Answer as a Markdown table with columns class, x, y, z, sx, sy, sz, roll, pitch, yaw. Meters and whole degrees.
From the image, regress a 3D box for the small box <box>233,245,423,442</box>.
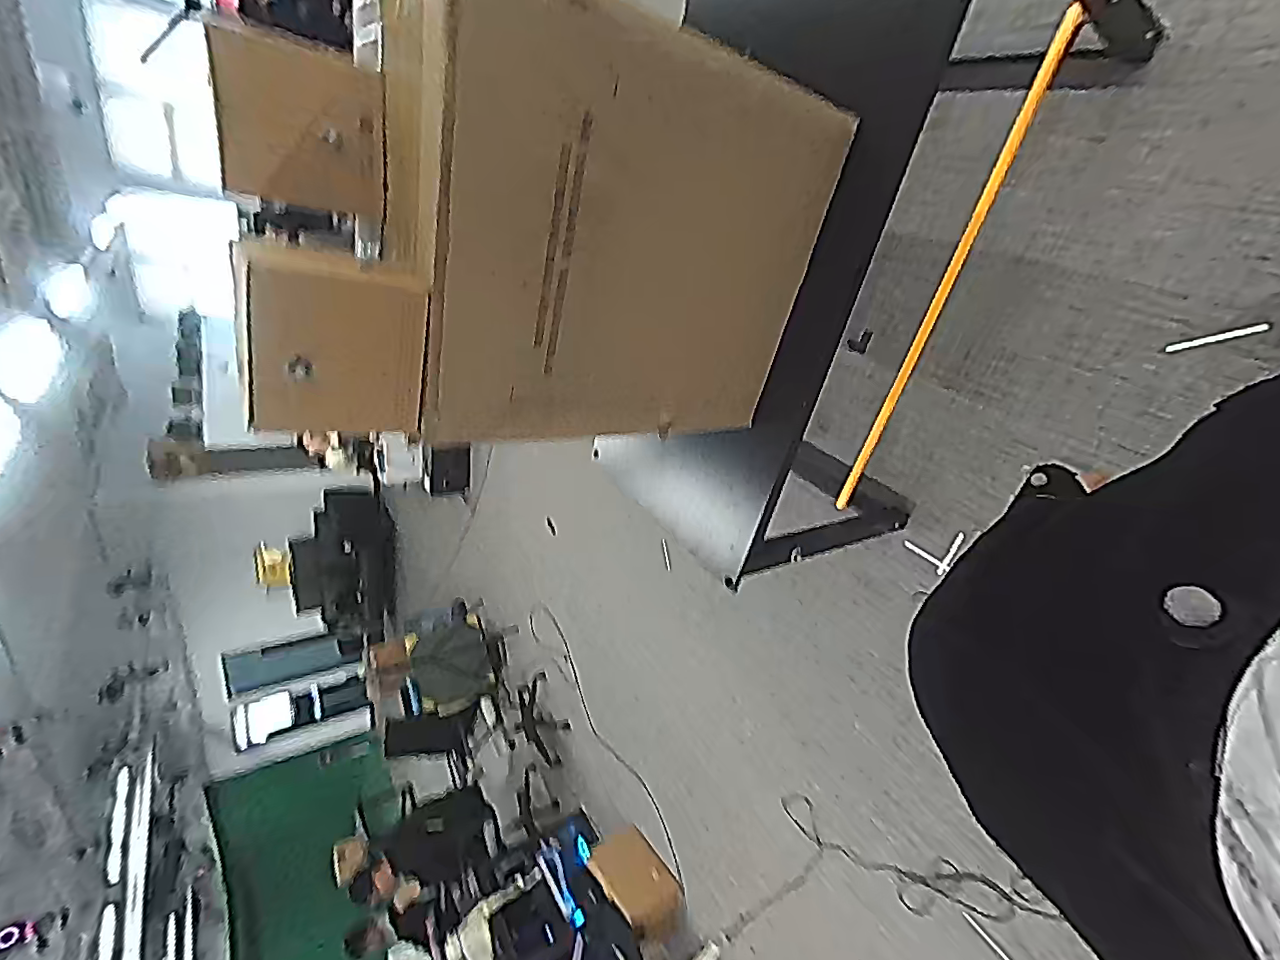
| class | x | y | z | sx | sy | sz | roll | pitch | yaw |
| --- | --- | --- | --- | --- | --- | --- | --- | --- | --- |
| small box | -0.365 | -0.155 | 0.633 | 0.168 | 0.176 | 0.179 | 37 | 121 | 43 |

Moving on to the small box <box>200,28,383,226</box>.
| class | x | y | z | sx | sy | sz | roll | pitch | yaw |
| --- | --- | --- | --- | --- | --- | --- | --- | --- | --- |
| small box | -0.432 | -0.428 | 0.681 | 0.179 | 0.176 | 0.168 | 40 | 128 | 45 |
